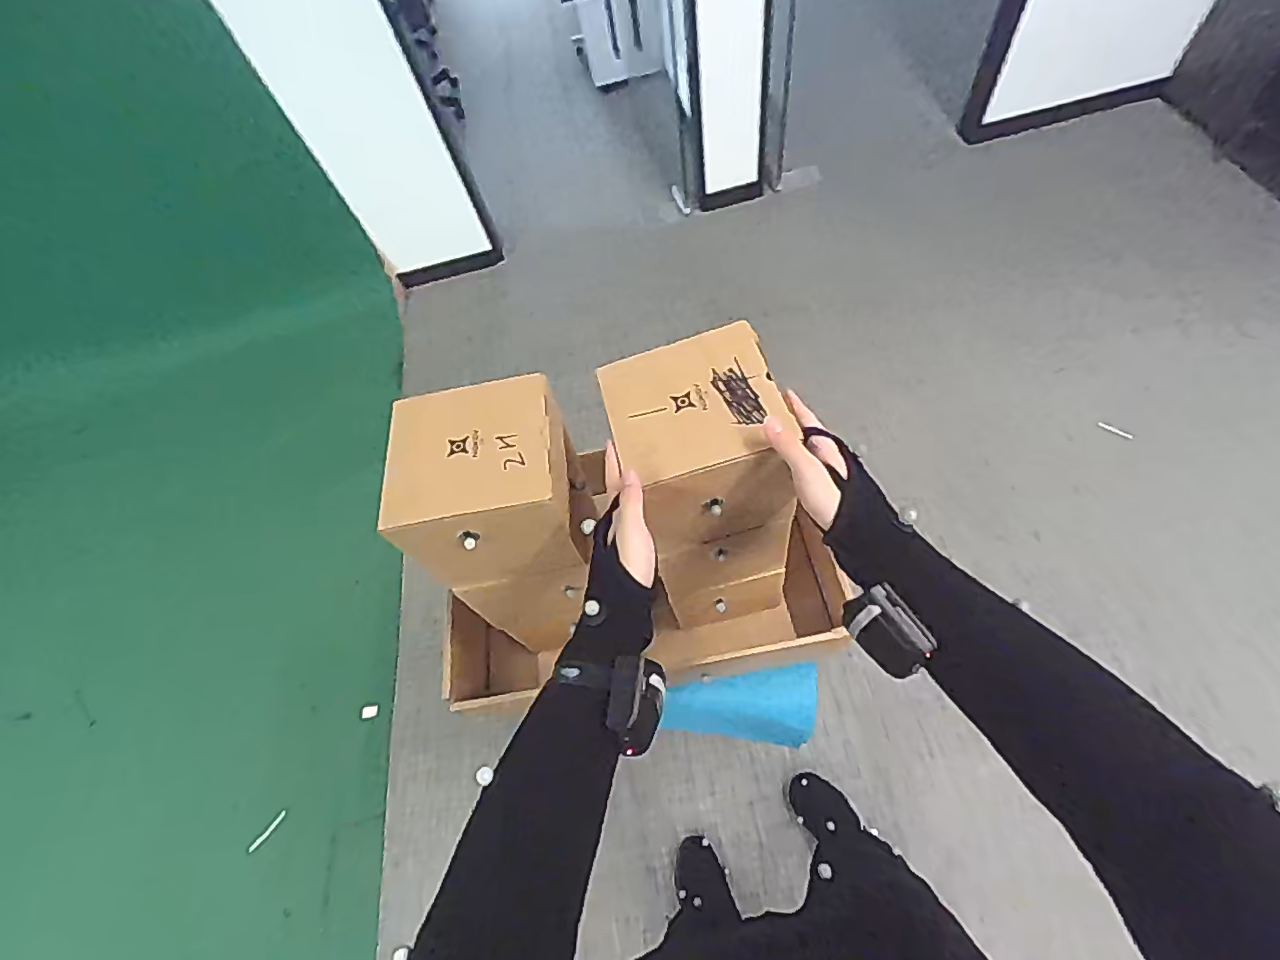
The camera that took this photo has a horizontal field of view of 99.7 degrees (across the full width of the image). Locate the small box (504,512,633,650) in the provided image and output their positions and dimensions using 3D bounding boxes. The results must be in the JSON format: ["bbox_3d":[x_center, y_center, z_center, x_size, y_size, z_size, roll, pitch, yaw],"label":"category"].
[{"bbox_3d":[-0.118,0.178,0.917,0.179,0.176,0.168,-12,59,2],"label":"small box"}]

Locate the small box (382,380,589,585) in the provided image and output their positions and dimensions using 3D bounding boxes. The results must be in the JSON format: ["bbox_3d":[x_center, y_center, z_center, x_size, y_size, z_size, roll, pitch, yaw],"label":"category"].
[{"bbox_3d":[-0.168,0.012,0.637,0.179,0.176,0.168,-10,59,3],"label":"small box"}]

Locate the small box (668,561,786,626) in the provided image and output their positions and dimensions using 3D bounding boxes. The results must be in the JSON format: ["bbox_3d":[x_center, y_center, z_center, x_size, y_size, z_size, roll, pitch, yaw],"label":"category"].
[{"bbox_3d":[0.132,0.127,0.892,0.179,0.176,0.168,-16,58,4],"label":"small box"}]

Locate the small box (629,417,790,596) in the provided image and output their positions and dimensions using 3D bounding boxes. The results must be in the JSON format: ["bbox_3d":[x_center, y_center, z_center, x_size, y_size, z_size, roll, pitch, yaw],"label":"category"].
[{"bbox_3d":[0.098,0.045,0.755,0.179,0.176,0.168,-16,58,3],"label":"small box"}]
